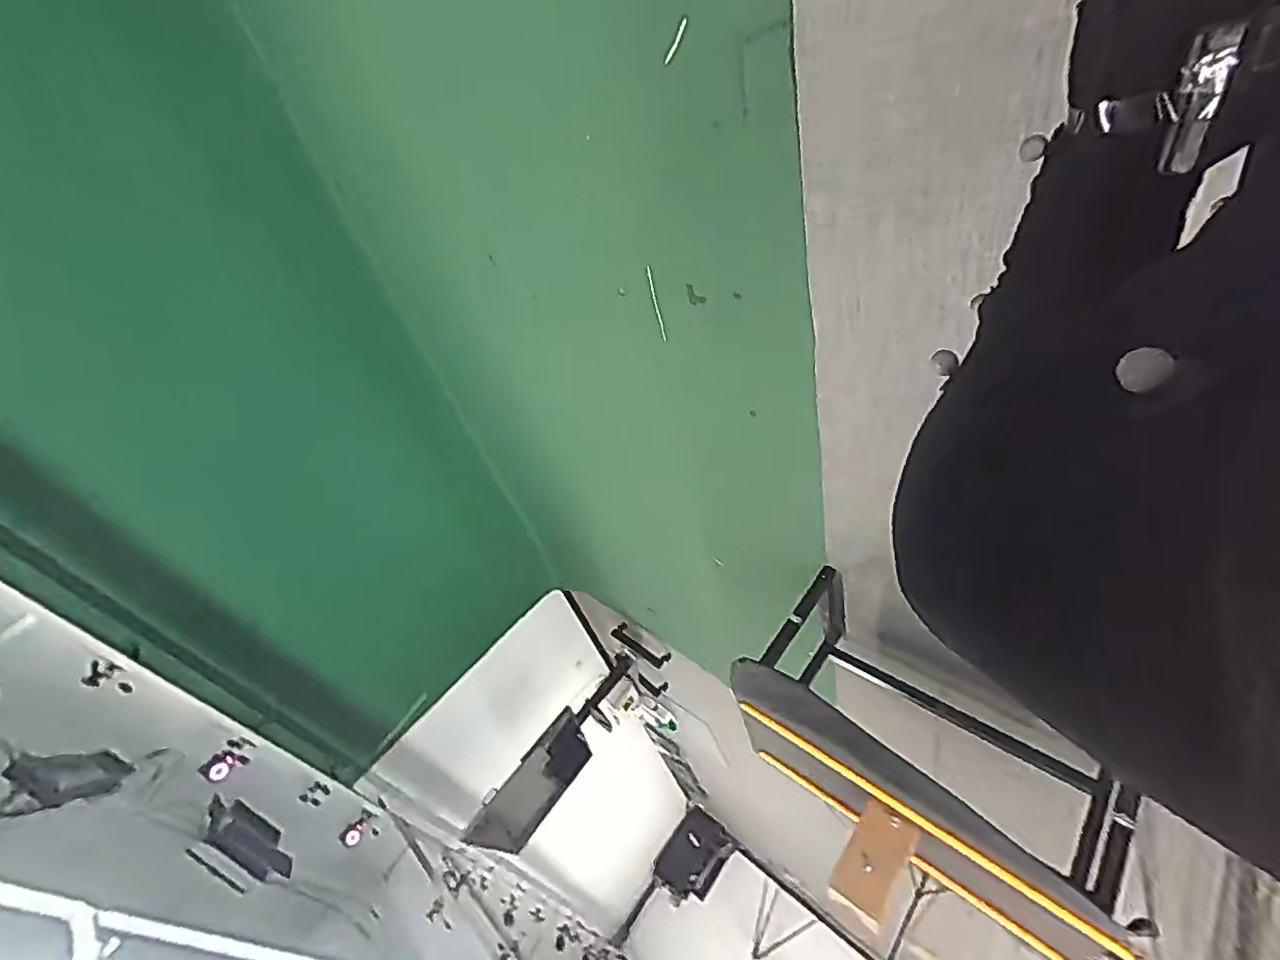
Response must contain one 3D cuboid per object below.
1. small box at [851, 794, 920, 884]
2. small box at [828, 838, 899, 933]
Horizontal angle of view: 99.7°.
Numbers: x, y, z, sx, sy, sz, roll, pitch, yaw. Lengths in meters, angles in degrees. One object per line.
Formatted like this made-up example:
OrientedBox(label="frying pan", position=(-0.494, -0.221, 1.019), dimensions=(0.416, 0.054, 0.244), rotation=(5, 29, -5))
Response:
OrientedBox(label="small box", position=(0.842, 1.225, 1.851), dimensions=(0.168, 0.176, 0.179), rotation=(19, 142, 40))
OrientedBox(label="small box", position=(0.737, 1.330, 1.779), dimensions=(0.168, 0.176, 0.179), rotation=(20, 144, 39))
